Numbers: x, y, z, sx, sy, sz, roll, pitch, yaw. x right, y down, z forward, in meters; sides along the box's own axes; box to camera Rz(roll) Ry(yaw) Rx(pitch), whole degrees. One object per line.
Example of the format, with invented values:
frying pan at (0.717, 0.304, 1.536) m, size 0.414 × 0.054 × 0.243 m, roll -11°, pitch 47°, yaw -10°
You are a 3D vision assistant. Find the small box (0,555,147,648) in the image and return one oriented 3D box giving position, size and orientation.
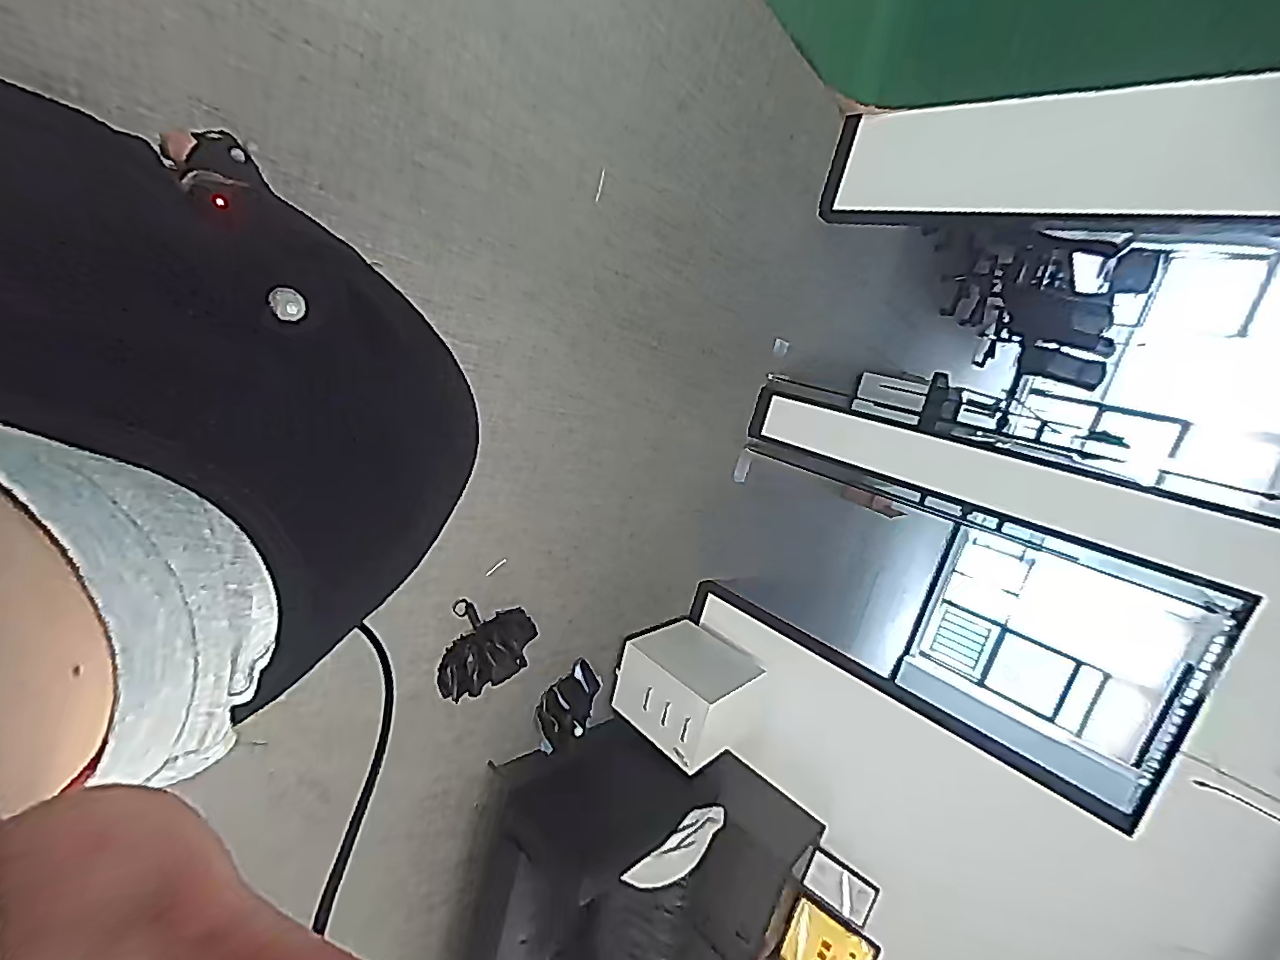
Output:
small box at (-1.215, 0.292, 1.175) m, size 0.168 × 0.176 × 0.179 m, roll -48°, pitch 138°, yaw -22°
